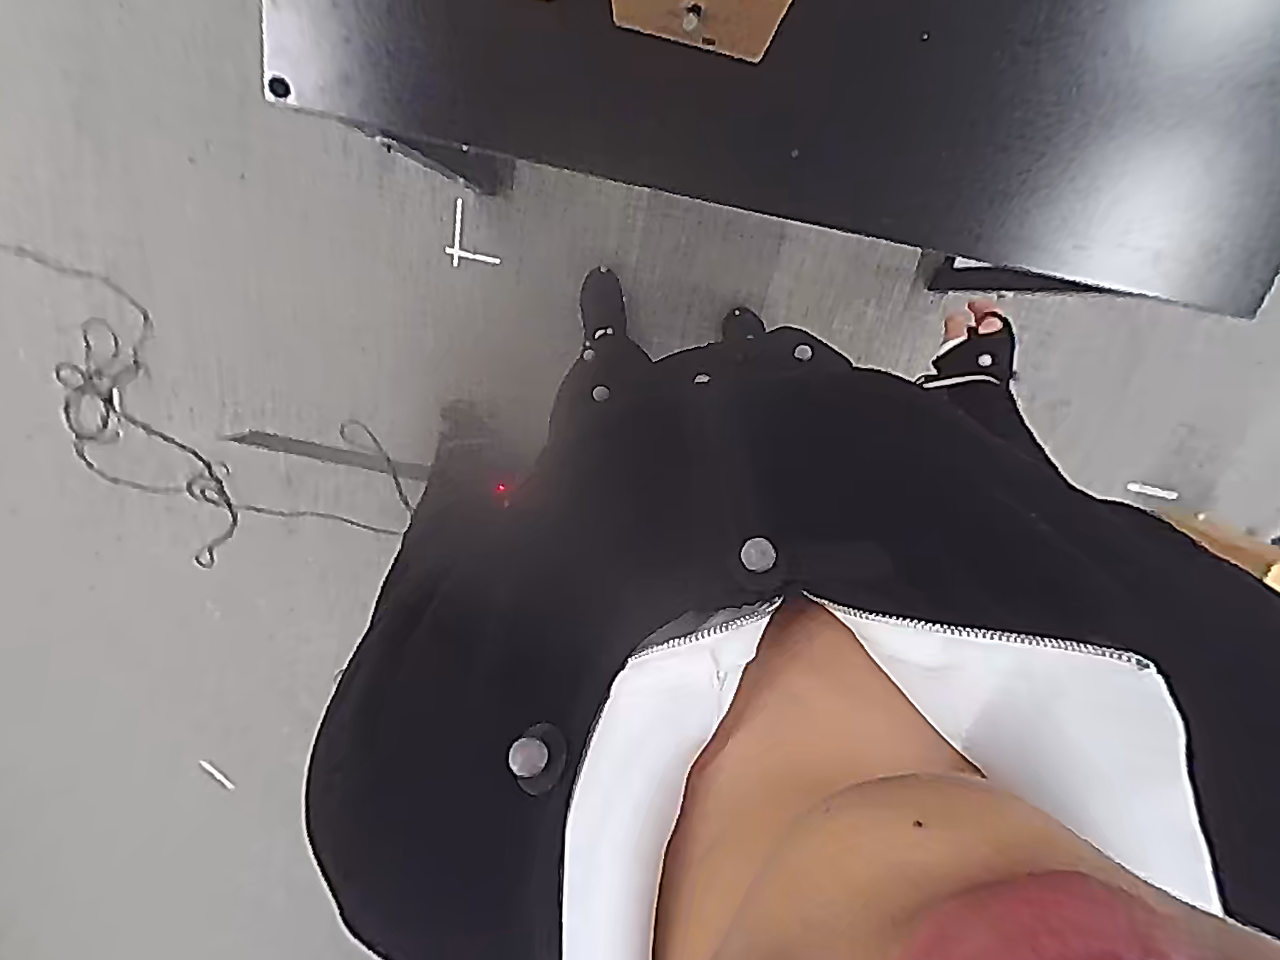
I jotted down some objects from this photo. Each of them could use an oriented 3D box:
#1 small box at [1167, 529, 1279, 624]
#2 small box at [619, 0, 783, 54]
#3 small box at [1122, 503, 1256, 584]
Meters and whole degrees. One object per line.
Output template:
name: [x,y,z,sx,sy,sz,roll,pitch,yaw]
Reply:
small box: [1.509,0.237,1.354,0.179,0.176,0.168,11,108,-2]
small box: [0.069,-0.529,0.486,0.168,0.176,0.179,12,110,-4]
small box: [1.514,0.185,1.508,0.168,0.176,0.179,9,109,-3]
